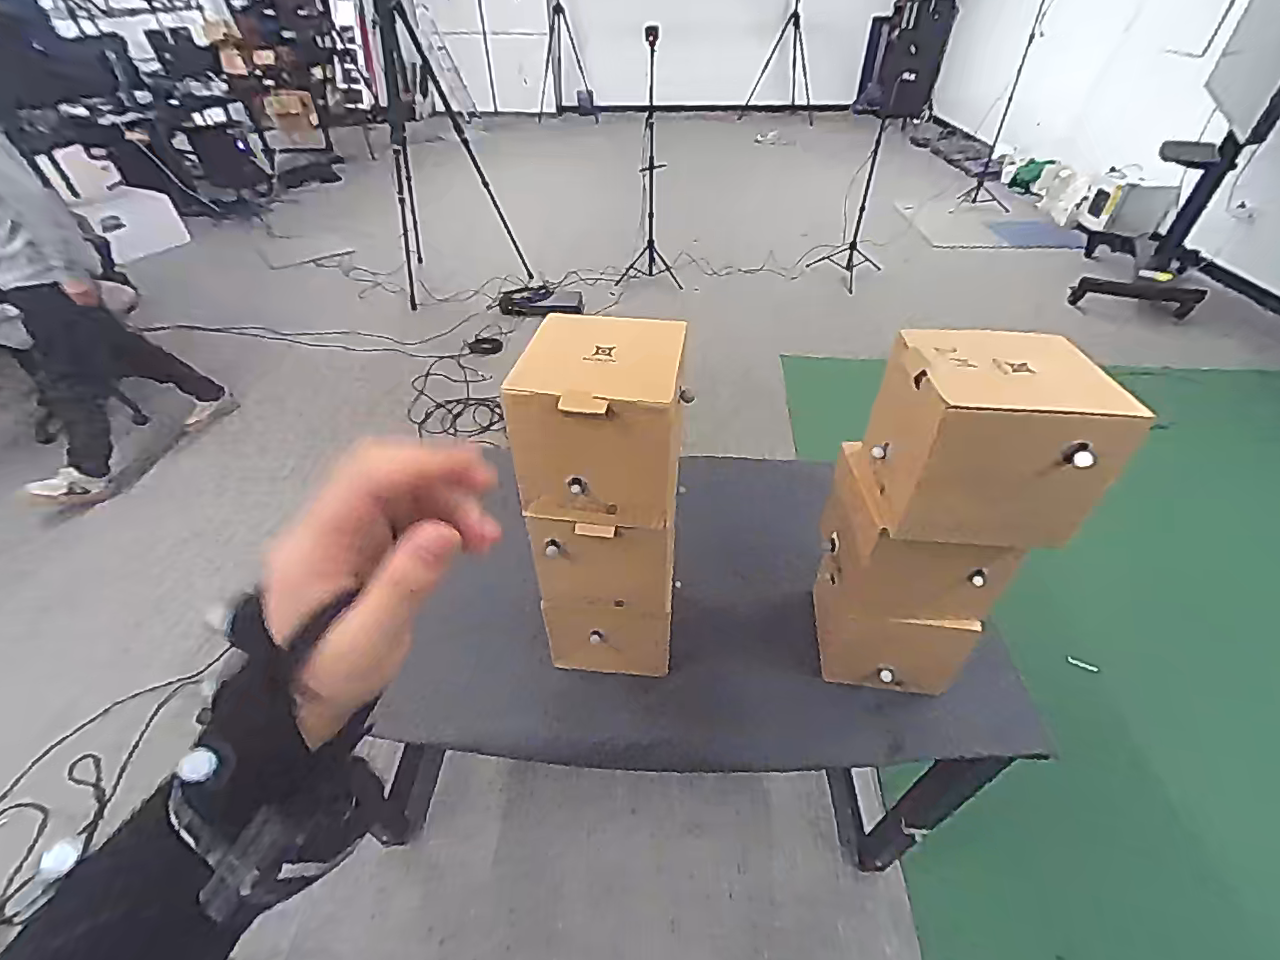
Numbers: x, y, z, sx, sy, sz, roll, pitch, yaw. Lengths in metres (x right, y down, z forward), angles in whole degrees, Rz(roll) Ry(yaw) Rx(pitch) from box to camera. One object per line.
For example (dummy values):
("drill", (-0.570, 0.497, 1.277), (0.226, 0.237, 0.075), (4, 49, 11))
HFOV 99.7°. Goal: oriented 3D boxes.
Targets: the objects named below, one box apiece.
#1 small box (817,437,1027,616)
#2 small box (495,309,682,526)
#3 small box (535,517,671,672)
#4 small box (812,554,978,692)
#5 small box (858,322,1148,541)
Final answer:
("small box", (0.345, 0.060, 0.698), (0.179, 0.176, 0.168), (-1, 39, 2))
("small box", (-0.047, -0.073, 0.610), (0.168, 0.176, 0.179), (5, 41, 6))
("small box", (-0.045, 0.175, 0.825), (0.179, 0.176, 0.168), (2, 42, 5))
("small box", (0.359, 0.184, 0.802), (0.168, 0.176, 0.179), (5, 41, 7))
("small box", (0.354, -0.051, 0.574), (0.179, 0.176, 0.168), (3, 39, 5))
